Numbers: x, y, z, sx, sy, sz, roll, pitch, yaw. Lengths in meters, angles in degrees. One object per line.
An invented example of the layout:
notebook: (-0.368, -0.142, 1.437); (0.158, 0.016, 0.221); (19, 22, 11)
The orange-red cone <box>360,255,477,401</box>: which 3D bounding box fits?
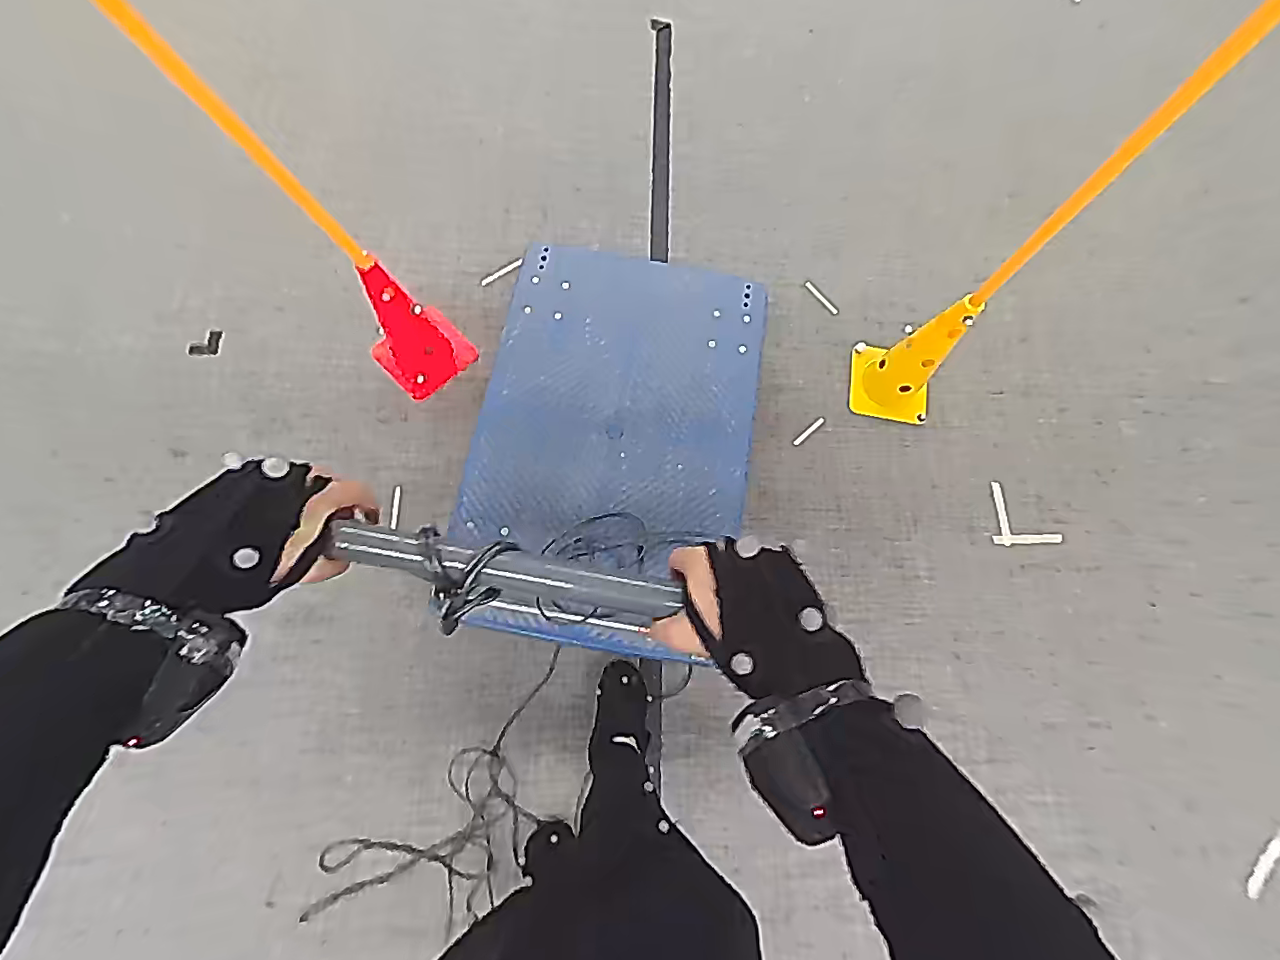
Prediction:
orange-red cone: (-0.524, -0.362, 1.192); (0.199, 0.360, 0.198); (-42, 81, -15)
